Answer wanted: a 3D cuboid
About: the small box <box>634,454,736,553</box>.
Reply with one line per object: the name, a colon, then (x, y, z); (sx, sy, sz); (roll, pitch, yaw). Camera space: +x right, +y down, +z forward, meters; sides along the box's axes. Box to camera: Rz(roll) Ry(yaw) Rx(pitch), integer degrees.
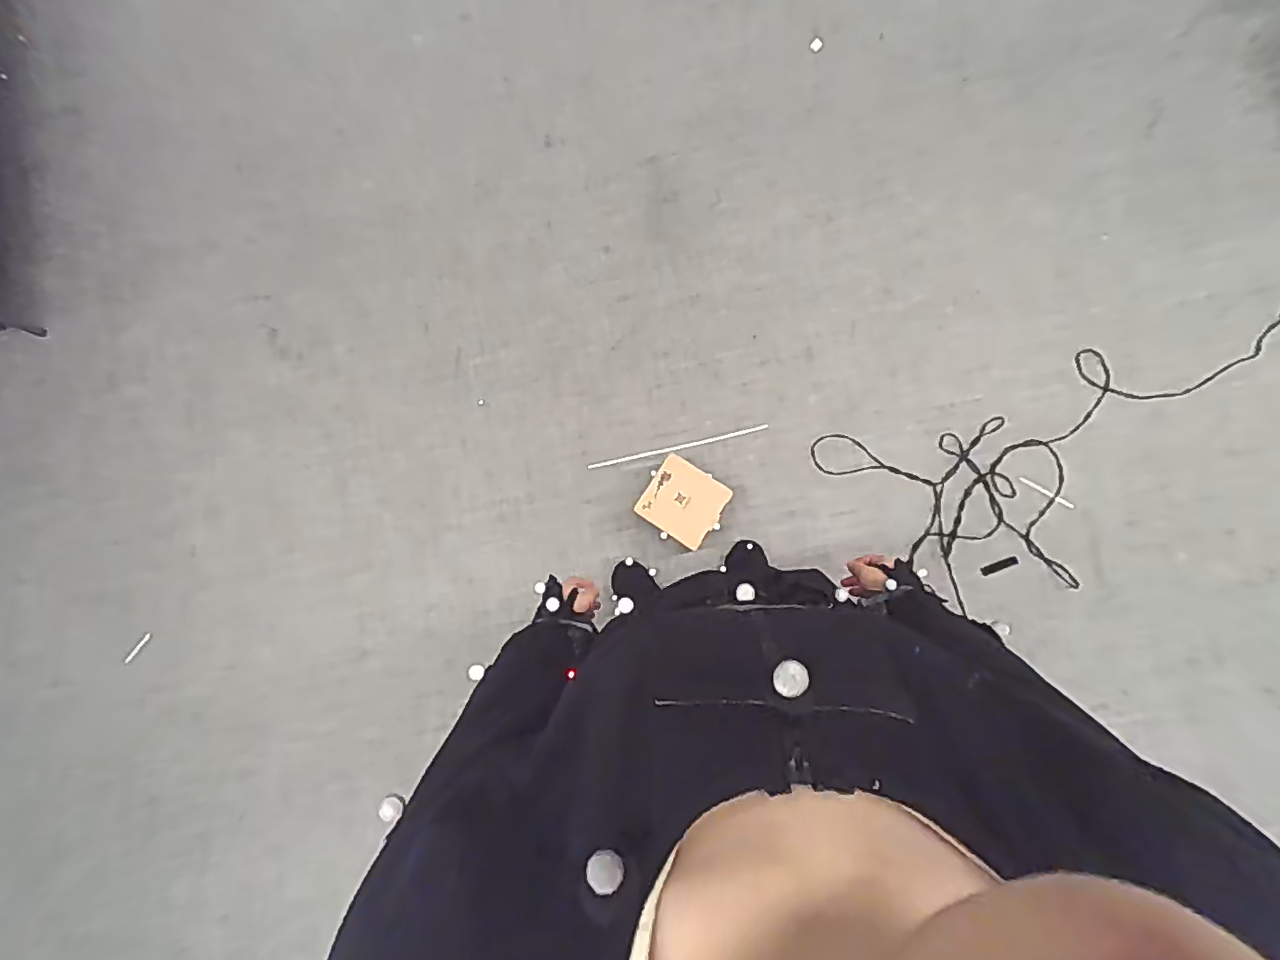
small box: (0.109, 0.059, 1.303); (0.179, 0.176, 0.168); (34, 87, 8)
